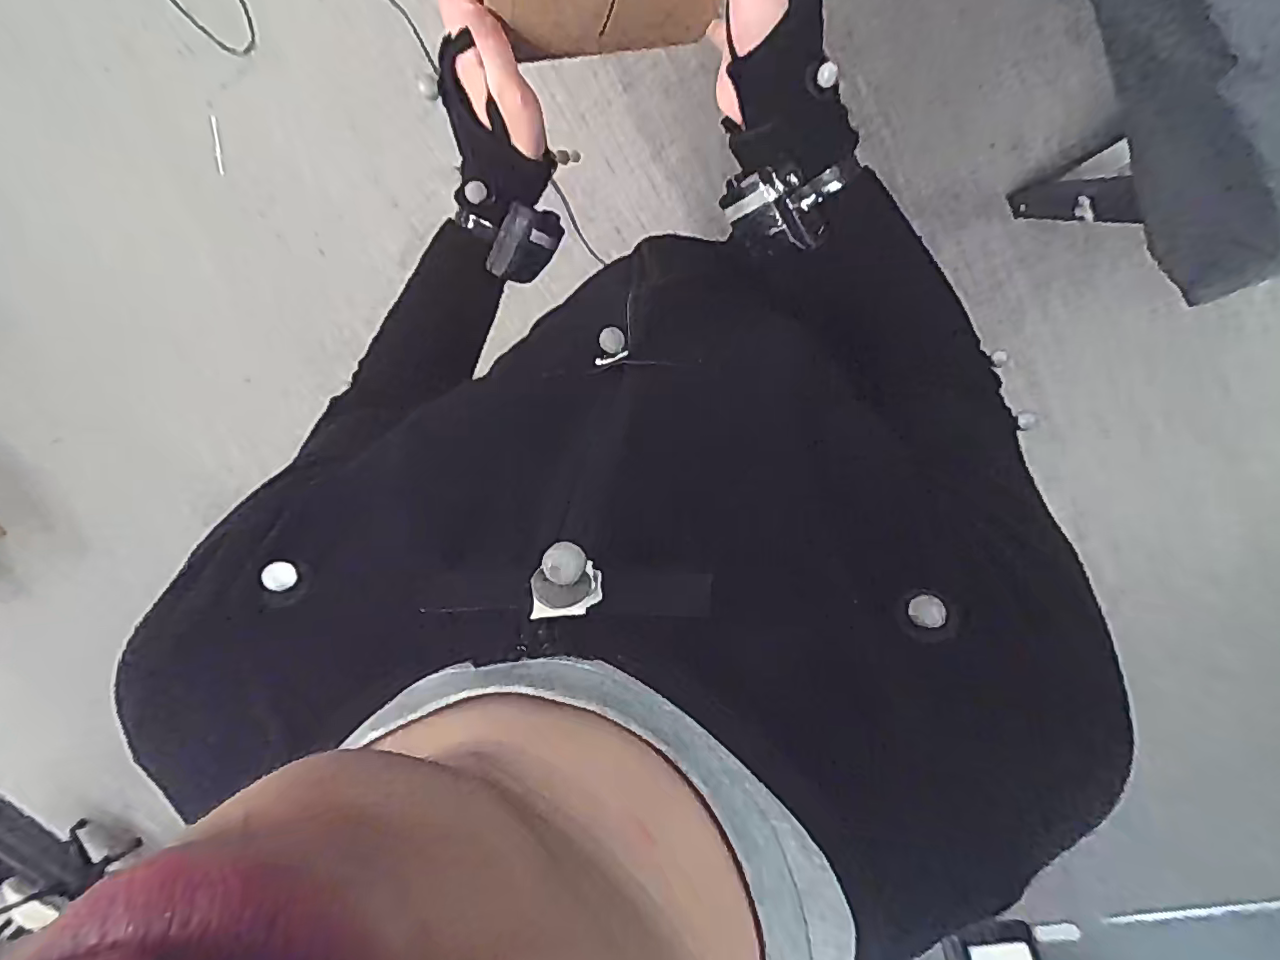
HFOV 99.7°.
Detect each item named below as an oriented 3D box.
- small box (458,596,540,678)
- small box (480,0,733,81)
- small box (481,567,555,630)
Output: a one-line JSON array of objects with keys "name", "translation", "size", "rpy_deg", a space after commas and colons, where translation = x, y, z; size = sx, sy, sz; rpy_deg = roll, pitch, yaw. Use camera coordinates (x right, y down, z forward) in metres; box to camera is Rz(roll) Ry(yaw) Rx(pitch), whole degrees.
[{"name": "small box", "translation": [-0.446, 0.505, 1.758], "size": [0.179, 0.176, 0.168], "rpy_deg": [-25, 109, 23]}, {"name": "small box", "translation": [-0.026, -0.380, 0.312], "size": [0.168, 0.179, 0.176], "rpy_deg": [-16, 100, -13]}, {"name": "small box", "translation": [-0.419, 0.433, 1.901], "size": [0.179, 0.176, 0.168], "rpy_deg": [-25, 109, 21]}]
